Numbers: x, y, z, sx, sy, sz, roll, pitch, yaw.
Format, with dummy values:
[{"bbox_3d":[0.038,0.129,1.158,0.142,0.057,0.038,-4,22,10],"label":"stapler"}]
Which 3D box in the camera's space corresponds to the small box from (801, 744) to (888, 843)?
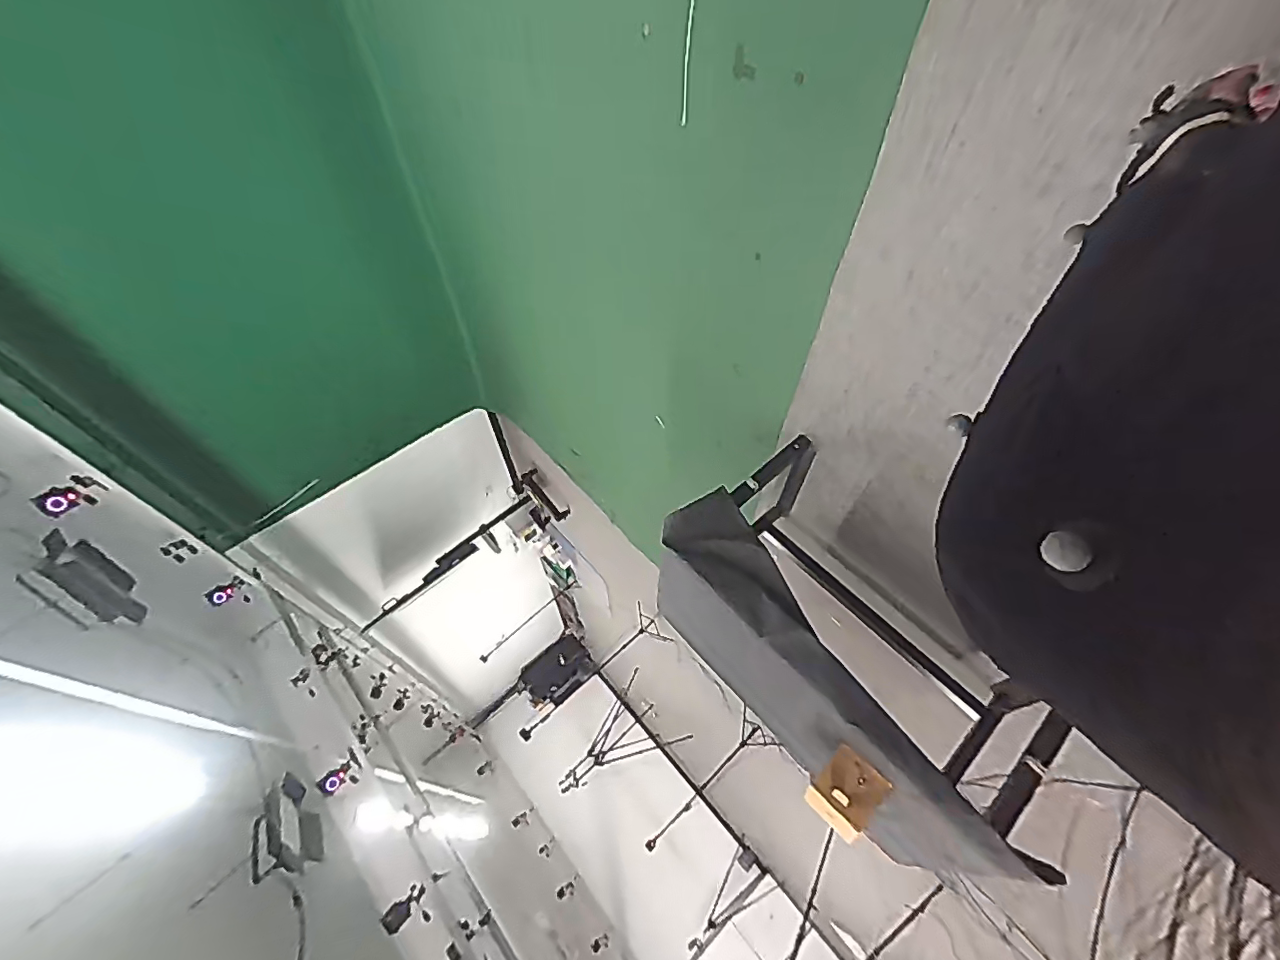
[{"bbox_3d":[0.596,0.914,1.582,0.168,0.176,0.179,38,153,35],"label":"small box"}]
